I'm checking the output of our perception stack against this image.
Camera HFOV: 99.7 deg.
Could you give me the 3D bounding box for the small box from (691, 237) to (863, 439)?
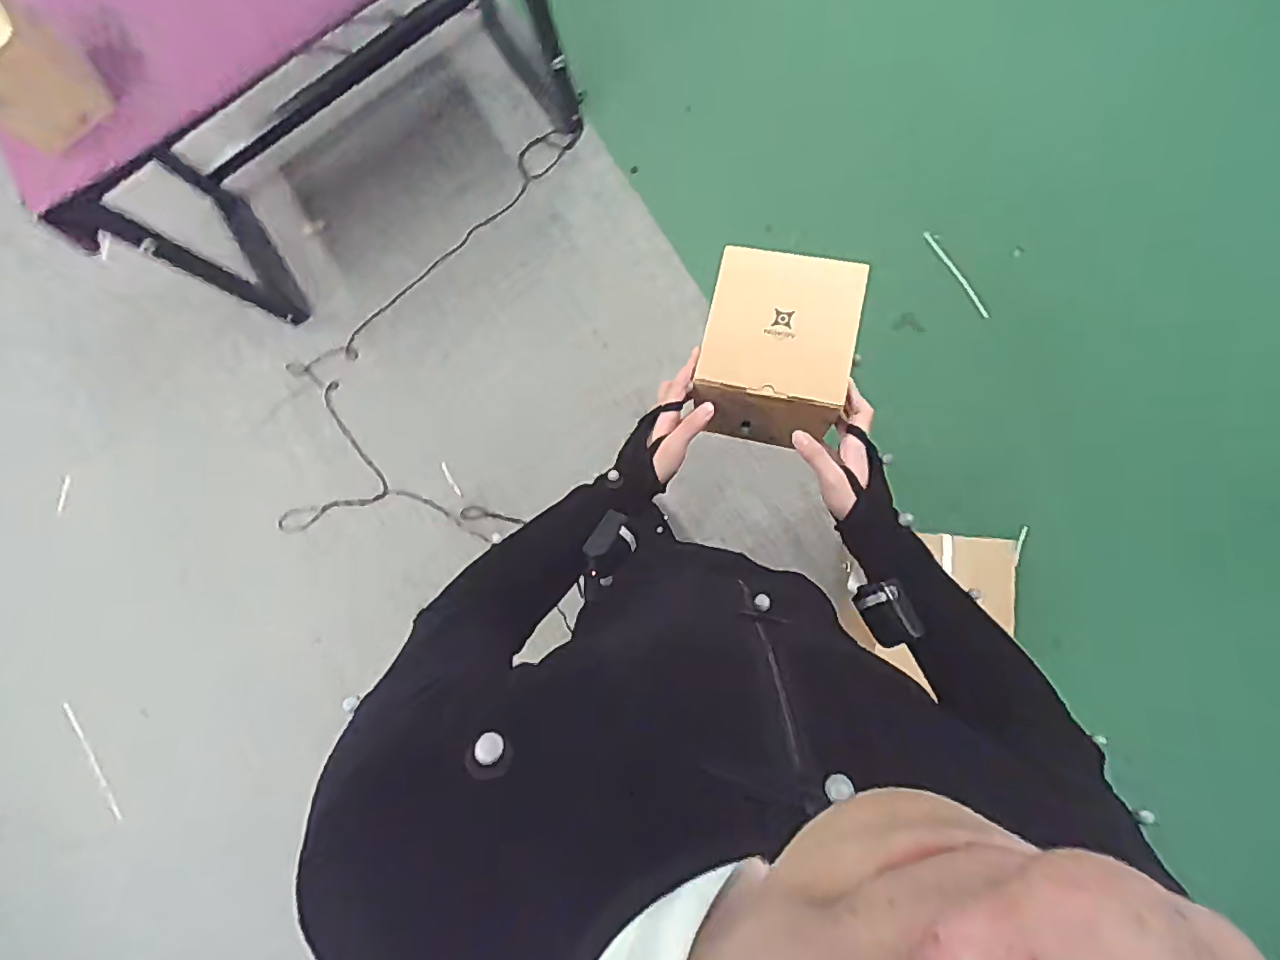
[{"bbox_3d":[0.160,-0.167,0.678,0.168,0.176,0.179,12,81,8],"label":"small box"}]
